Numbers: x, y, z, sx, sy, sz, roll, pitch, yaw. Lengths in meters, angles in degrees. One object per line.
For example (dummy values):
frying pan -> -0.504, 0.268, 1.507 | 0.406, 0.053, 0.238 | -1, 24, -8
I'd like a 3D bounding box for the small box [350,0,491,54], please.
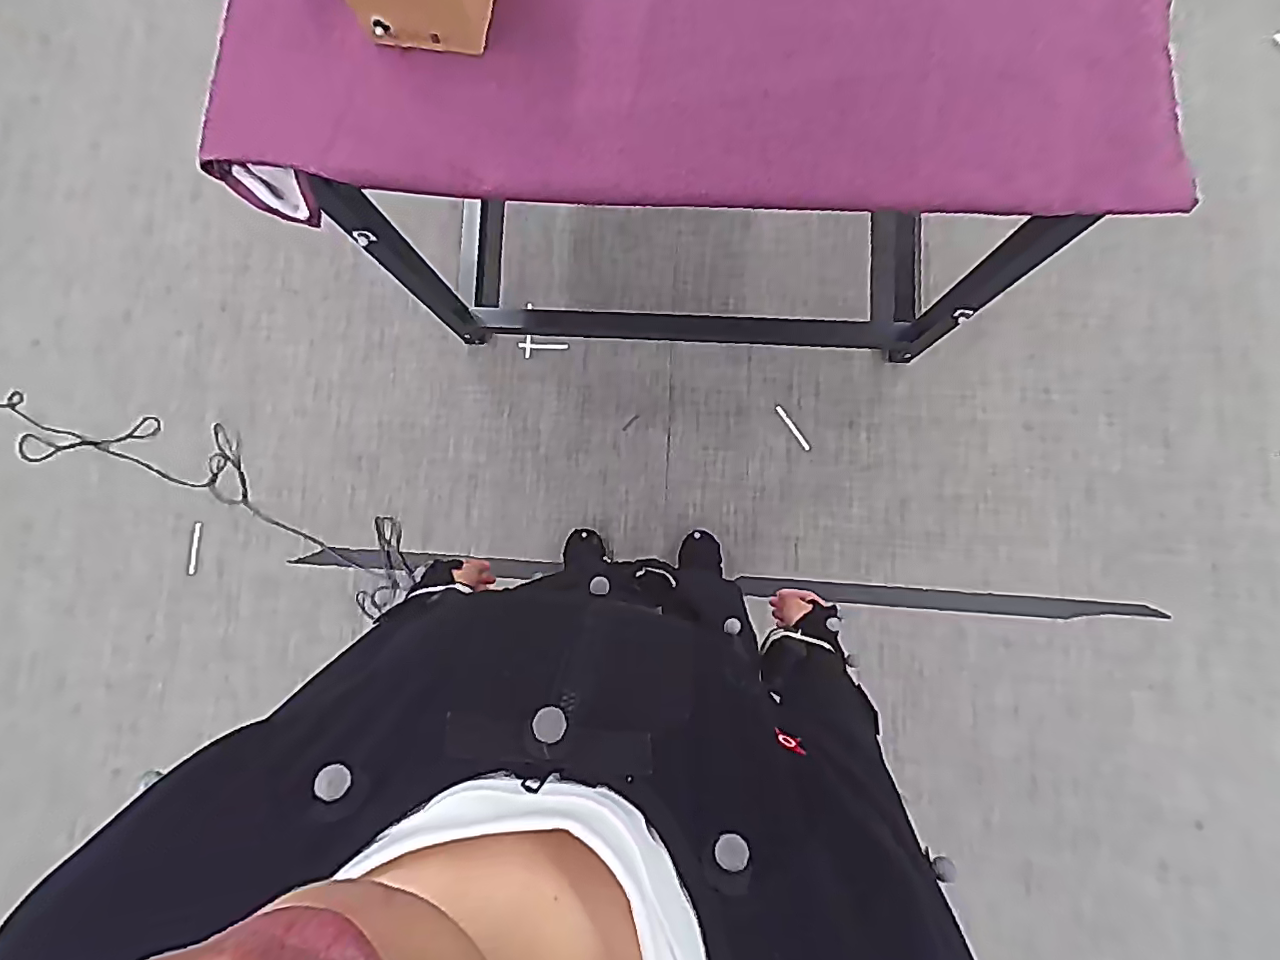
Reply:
small box -> -0.289, -0.692, 0.685 | 0.168, 0.176, 0.179 | 9, 85, 3
